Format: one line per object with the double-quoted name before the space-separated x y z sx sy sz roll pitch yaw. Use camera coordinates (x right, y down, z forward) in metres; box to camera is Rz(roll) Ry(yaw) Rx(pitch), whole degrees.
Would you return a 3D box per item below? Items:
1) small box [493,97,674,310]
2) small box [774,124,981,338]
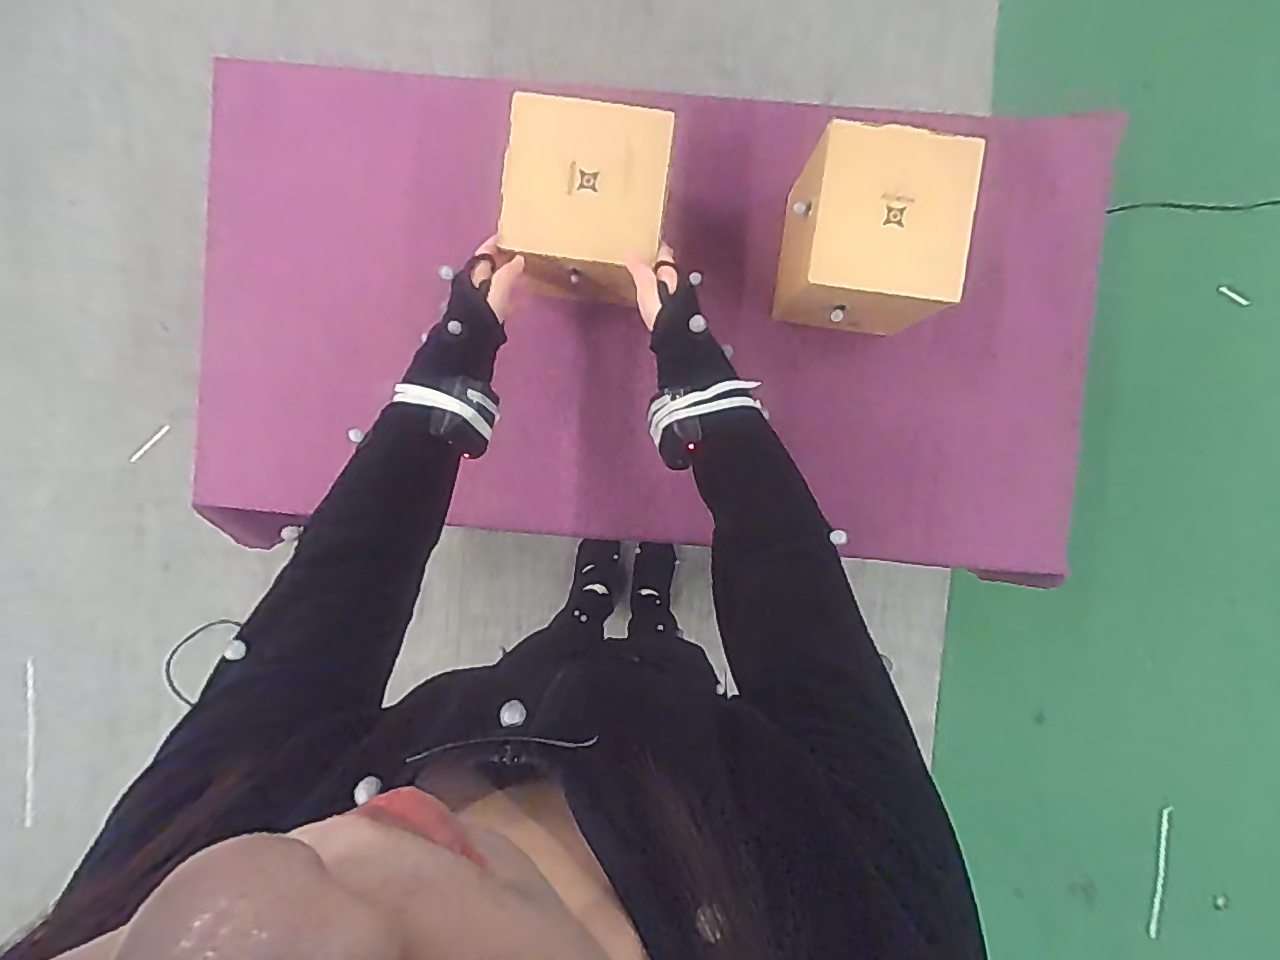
"small box" -0.059 -0.317 0.654 0.179 0.176 0.168 8 93 0
"small box" 0.268 -0.282 0.652 0.168 0.176 0.179 8 91 1
